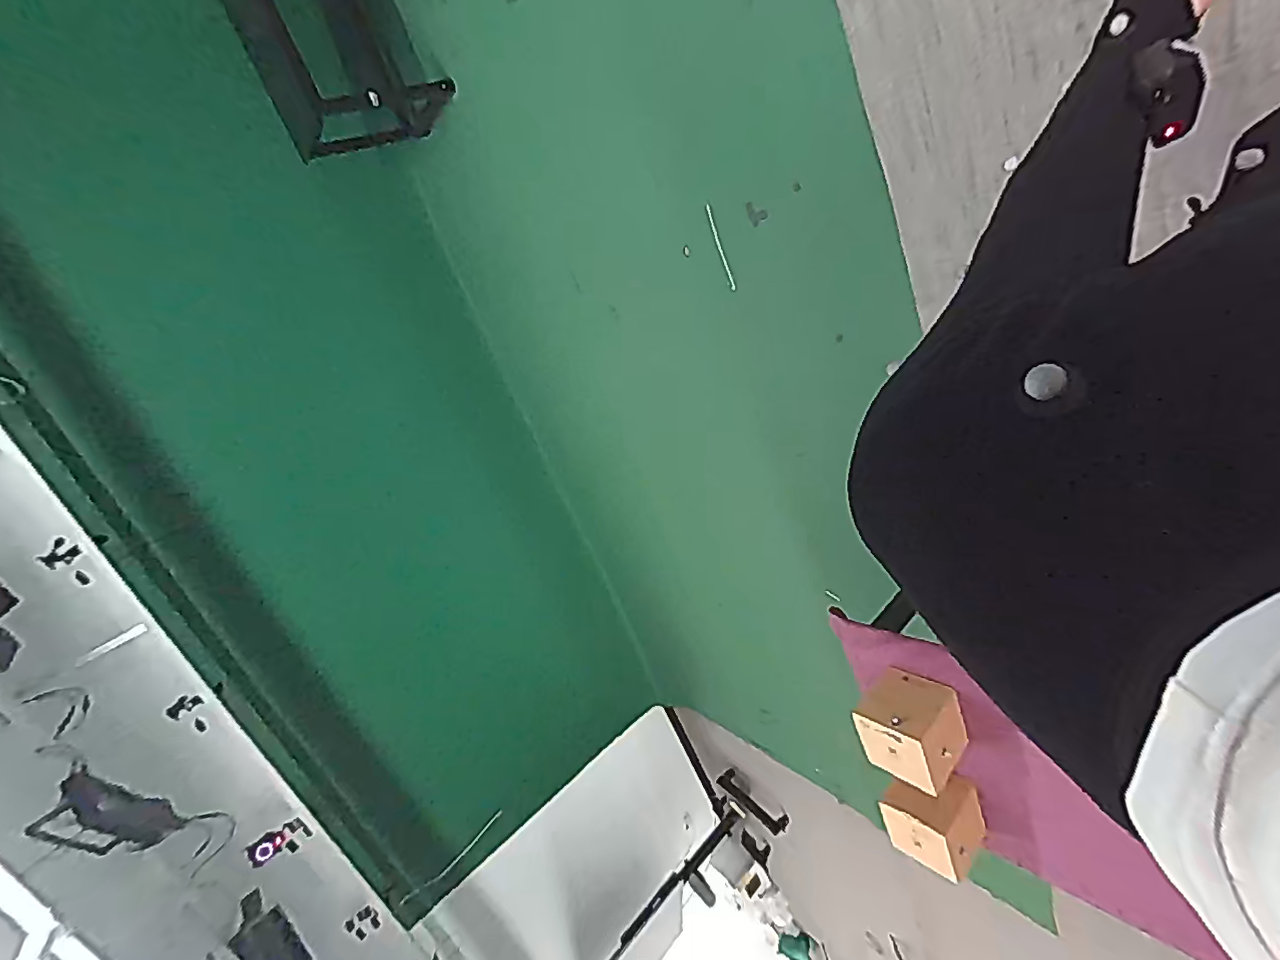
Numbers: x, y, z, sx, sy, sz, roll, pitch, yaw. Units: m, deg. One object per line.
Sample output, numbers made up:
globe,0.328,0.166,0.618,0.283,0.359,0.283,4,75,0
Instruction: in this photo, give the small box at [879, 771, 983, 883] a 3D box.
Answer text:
small box,0.742,0.850,1.371,0.168,0.176,0.179,3,120,53

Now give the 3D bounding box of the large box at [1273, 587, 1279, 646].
large box,1.516,0.332,1.050,0.320,0.320,0.408,-1,119,58

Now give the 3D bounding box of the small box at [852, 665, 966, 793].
small box,0.634,0.574,1.265,0.168,0.176,0.179,4,124,54
